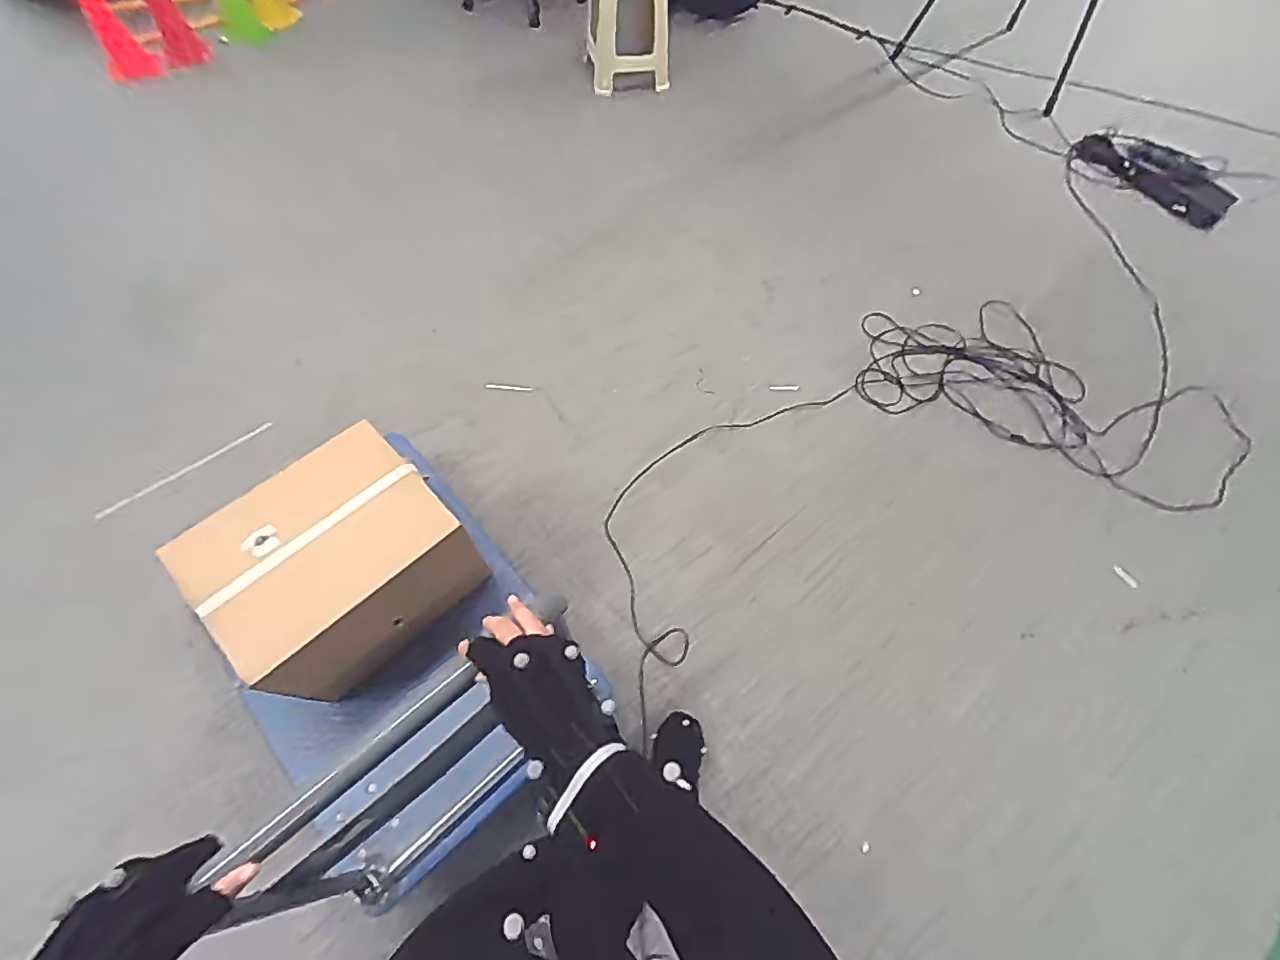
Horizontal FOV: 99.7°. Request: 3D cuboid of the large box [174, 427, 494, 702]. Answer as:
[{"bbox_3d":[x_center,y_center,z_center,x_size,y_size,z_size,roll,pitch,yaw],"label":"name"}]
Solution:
[{"bbox_3d":[-0.566,0.178,1.090,0.320,0.320,0.408,42,69,16],"label":"large box"}]
